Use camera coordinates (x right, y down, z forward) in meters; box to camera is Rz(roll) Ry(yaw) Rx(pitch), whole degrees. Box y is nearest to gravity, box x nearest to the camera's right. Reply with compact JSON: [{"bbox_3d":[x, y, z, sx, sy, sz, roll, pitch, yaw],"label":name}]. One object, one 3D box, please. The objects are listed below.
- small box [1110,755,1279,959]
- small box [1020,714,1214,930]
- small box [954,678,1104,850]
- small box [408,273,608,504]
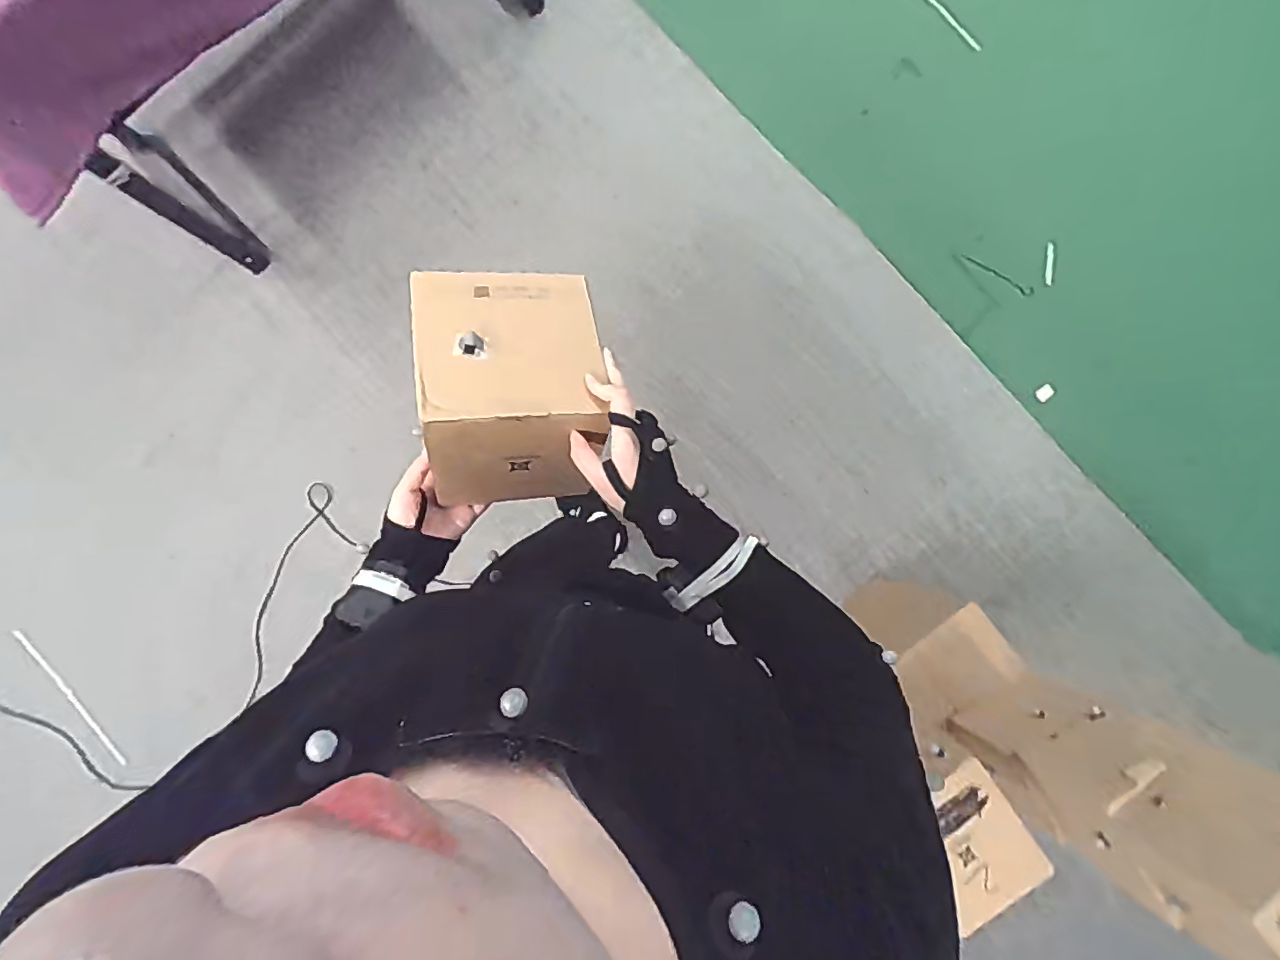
[{"bbox_3d":[0.702,0.454,0.603,0.168,0.176,0.179,-36,88,-2],"label":"small box"},{"bbox_3d":[0.697,0.461,0.768,0.168,0.176,0.179,-29,88,-1],"label":"small box"},{"bbox_3d":[0.695,0.472,0.932,0.179,0.176,0.168,-31,86,0],"label":"small box"},{"bbox_3d":[-0.143,-0.093,0.564,0.168,0.179,0.176,-5,65,-18],"label":"small box"}]
